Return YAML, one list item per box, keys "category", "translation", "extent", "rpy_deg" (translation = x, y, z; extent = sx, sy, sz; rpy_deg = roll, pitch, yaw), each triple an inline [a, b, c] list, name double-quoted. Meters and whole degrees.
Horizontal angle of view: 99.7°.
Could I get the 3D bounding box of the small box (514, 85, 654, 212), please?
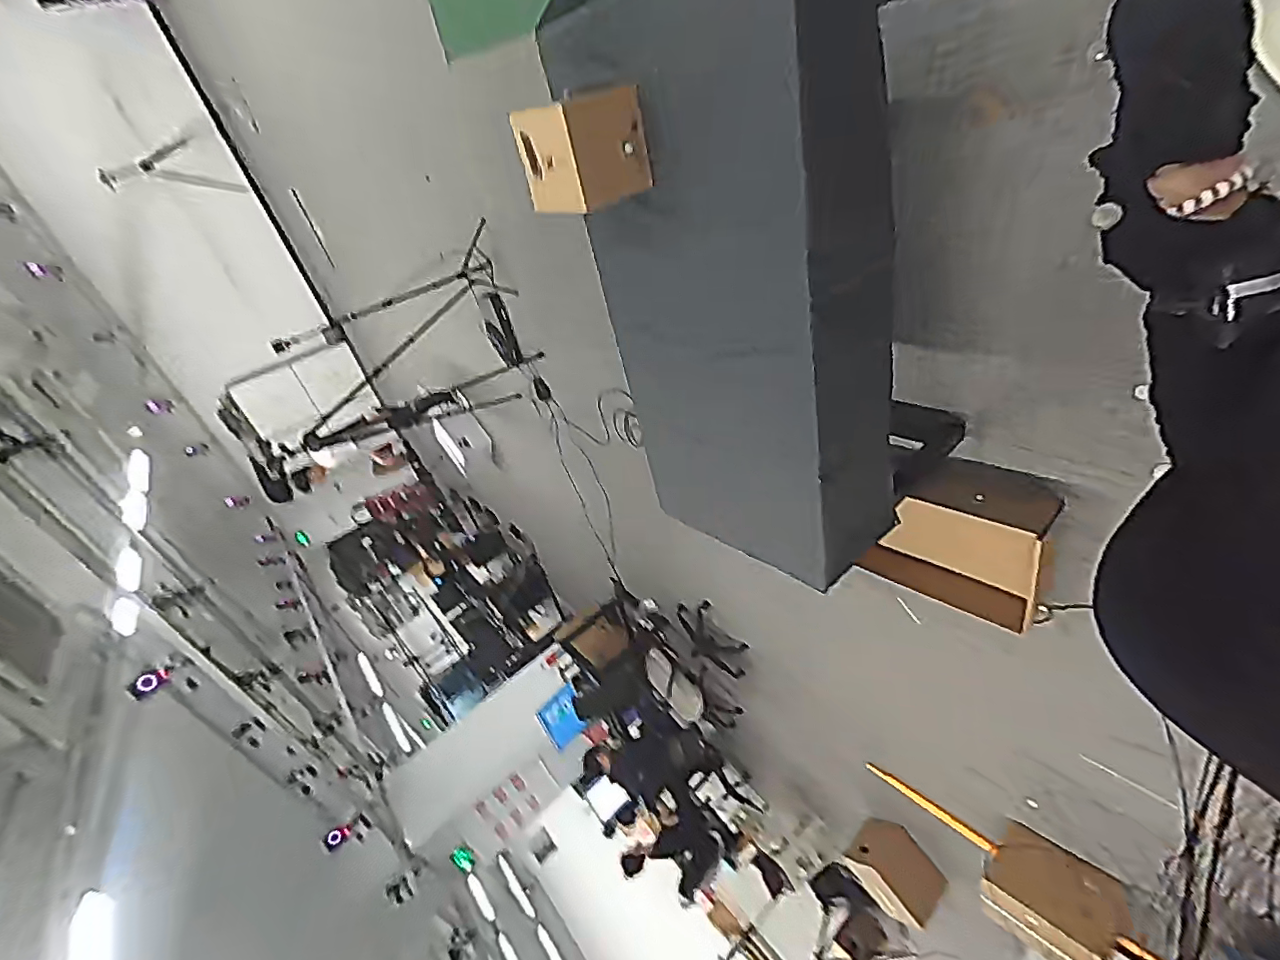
- category: "small box"
  translation: [-0.100, -0.616, 1.012]
  extent: [0.179, 0.176, 0.168]
  rpy_deg: [27, 143, 43]
